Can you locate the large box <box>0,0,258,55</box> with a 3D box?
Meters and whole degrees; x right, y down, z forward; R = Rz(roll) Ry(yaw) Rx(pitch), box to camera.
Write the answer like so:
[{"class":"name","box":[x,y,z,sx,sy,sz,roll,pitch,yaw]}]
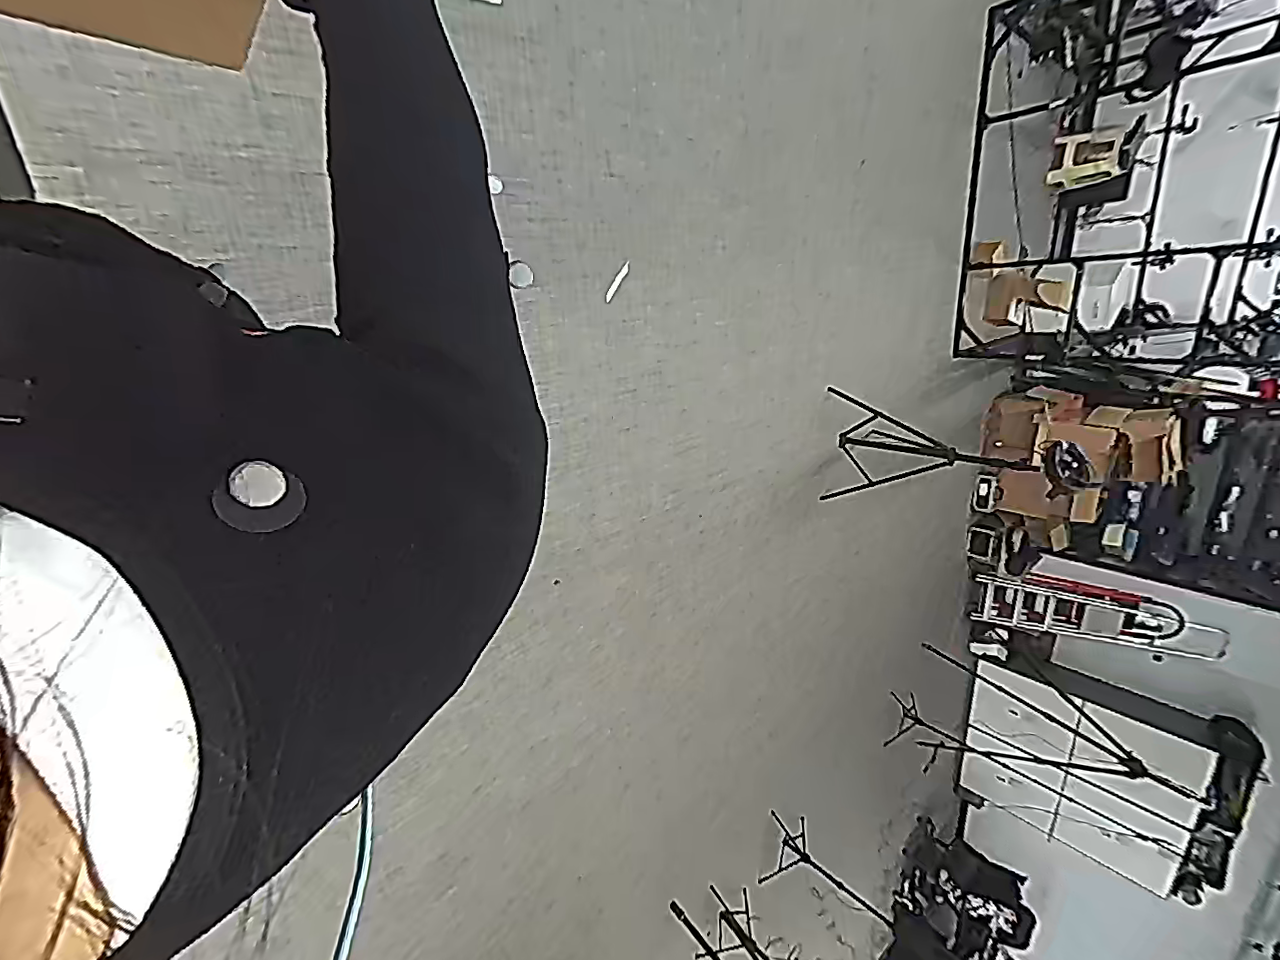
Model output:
[{"class":"large box","box":[-0.484,-0.526,0.309,0.408,0.320,0.320,-14,113,-40]}]
